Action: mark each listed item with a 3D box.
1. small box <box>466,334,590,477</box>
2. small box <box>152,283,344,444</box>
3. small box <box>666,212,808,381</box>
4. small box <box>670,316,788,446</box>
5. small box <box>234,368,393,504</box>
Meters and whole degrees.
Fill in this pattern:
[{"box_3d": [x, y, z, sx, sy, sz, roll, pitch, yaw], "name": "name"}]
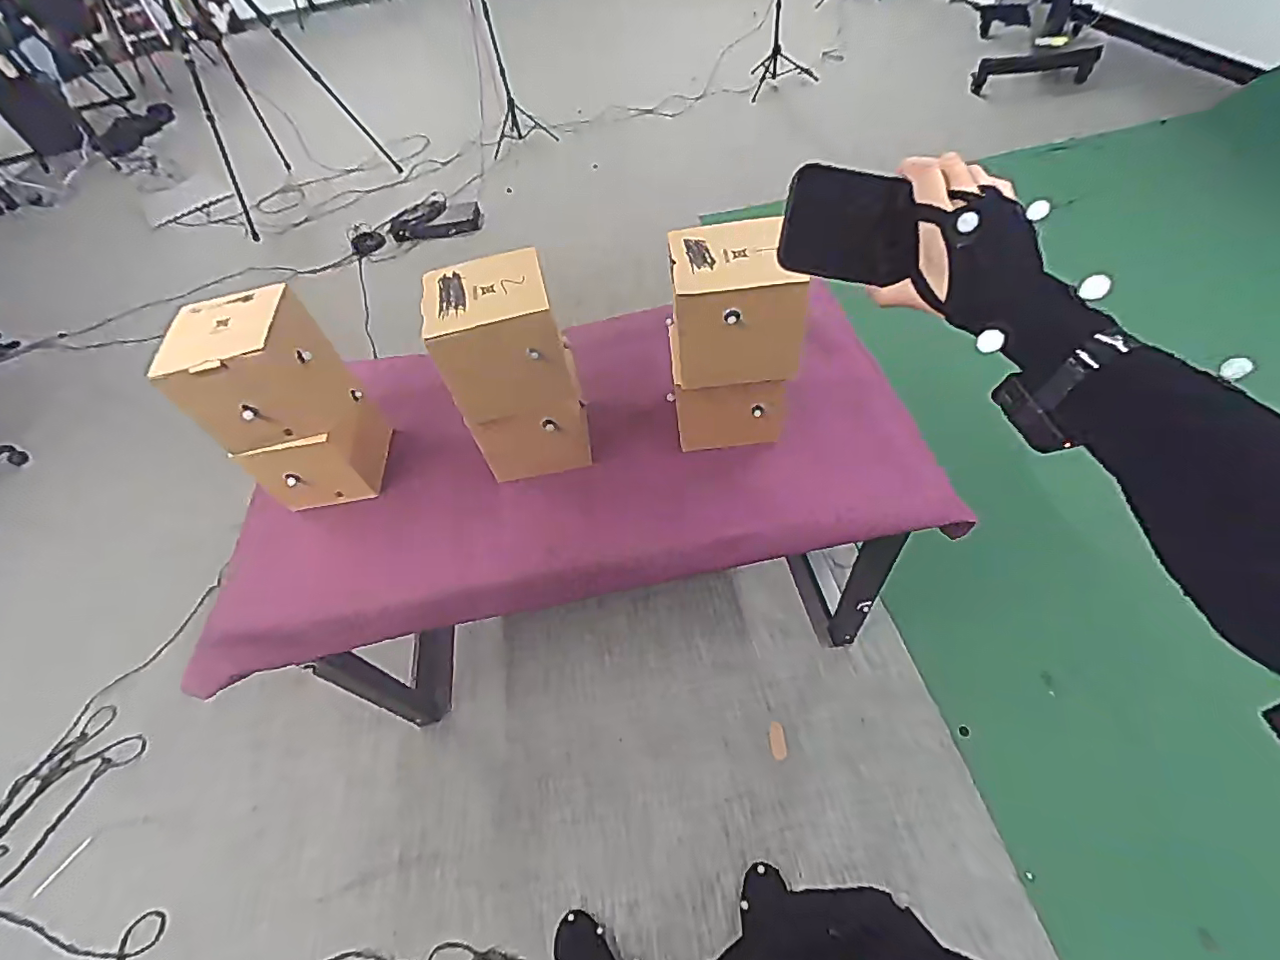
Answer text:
[{"box_3d": [-0.188, -0.126, 0.955, 0.179, 0.176, 0.168, -11, 52, 2], "name": "small box"}, {"box_3d": [-0.597, -0.175, 0.855, 0.168, 0.176, 0.179, -14, 53, -2], "name": "small box"}, {"box_3d": [0.137, -0.264, 0.799, 0.179, 0.176, 0.168, -6, 53, 5], "name": "small box"}, {"box_3d": [0.149, -0.177, 0.938, 0.179, 0.176, 0.168, -6, 52, 6], "name": "small box"}, {"box_3d": [-0.574, -0.071, 0.980, 0.168, 0.176, 0.179, -10, 52, 2], "name": "small box"}]
